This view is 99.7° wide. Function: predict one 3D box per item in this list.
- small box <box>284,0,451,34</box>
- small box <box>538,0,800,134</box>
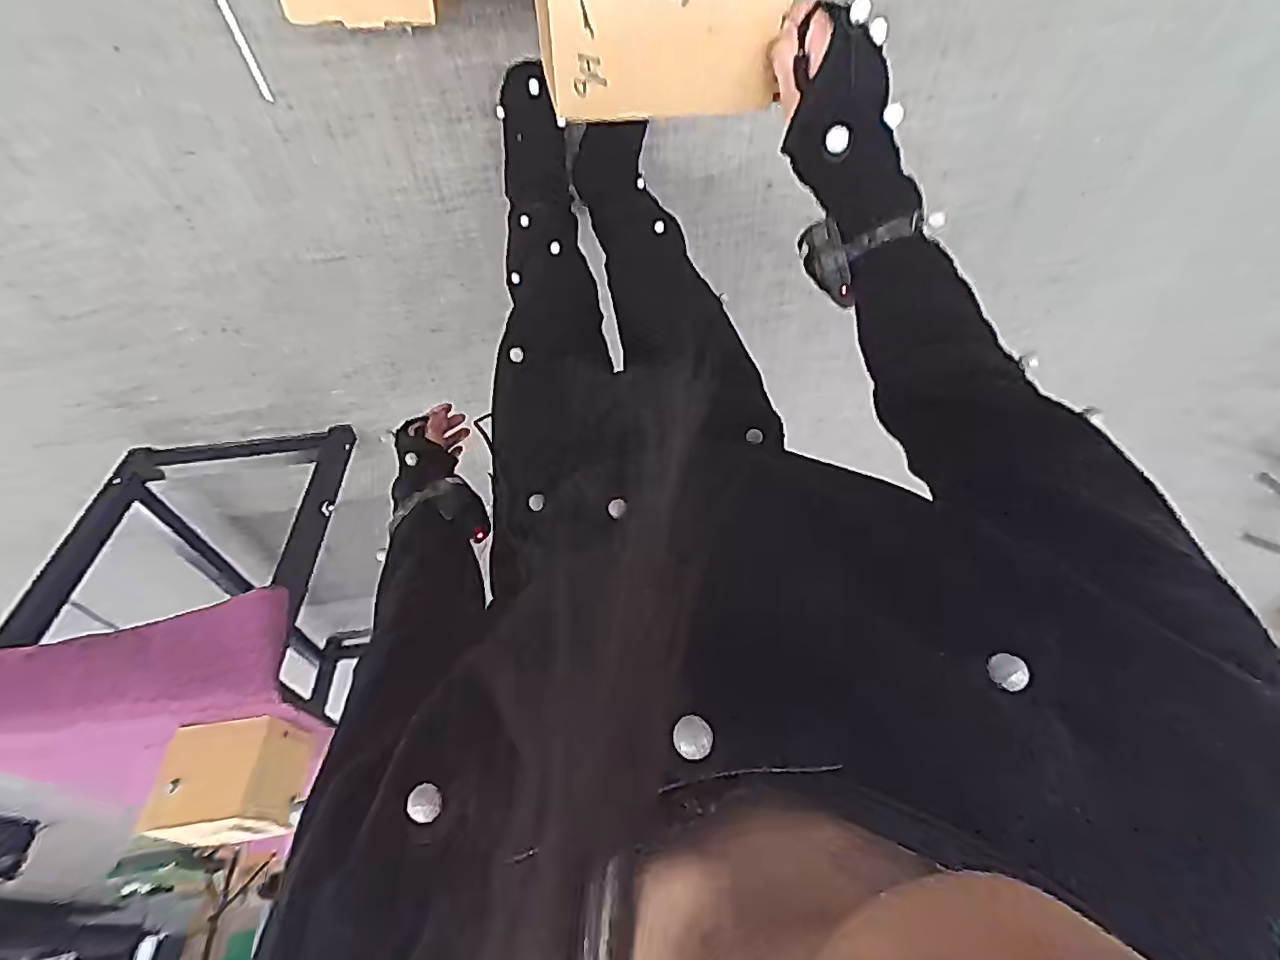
[{"bbox_3d":[-0.320,-0.631,0.612,0.168,0.176,0.179,-6,137,-7],"label":"small box"},{"bbox_3d":[0.013,-0.390,0.418,0.179,0.176,0.168,-8,139,-8],"label":"small box"}]
